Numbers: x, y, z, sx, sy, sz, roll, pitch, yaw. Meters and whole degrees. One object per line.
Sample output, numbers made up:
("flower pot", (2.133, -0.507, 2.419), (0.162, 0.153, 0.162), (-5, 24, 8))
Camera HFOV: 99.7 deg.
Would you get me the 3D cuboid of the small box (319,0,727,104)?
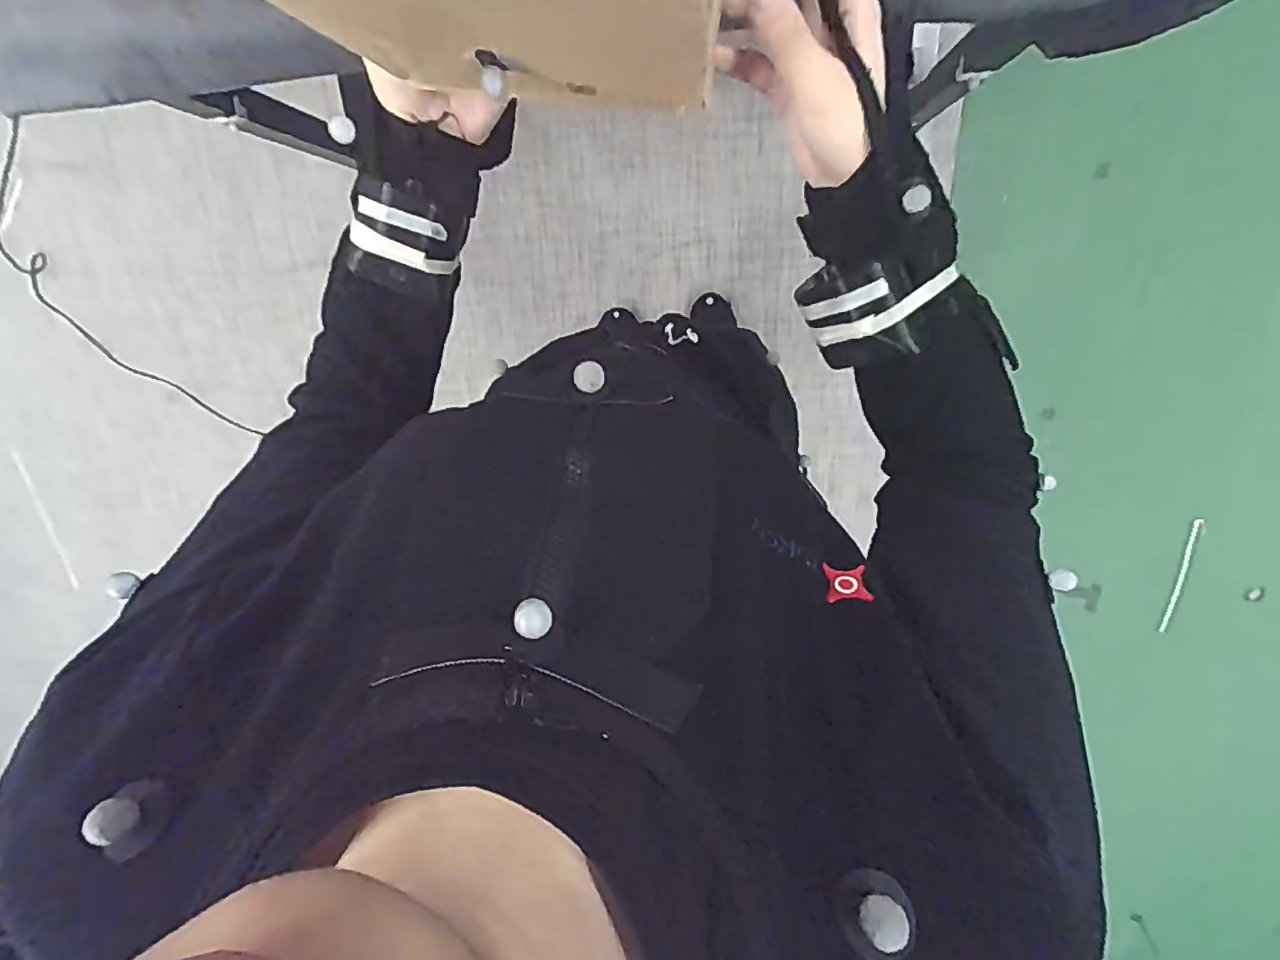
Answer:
("small box", (-0.043, -0.253, 0.179), (0.168, 0.176, 0.179), (6, 115, 2))
